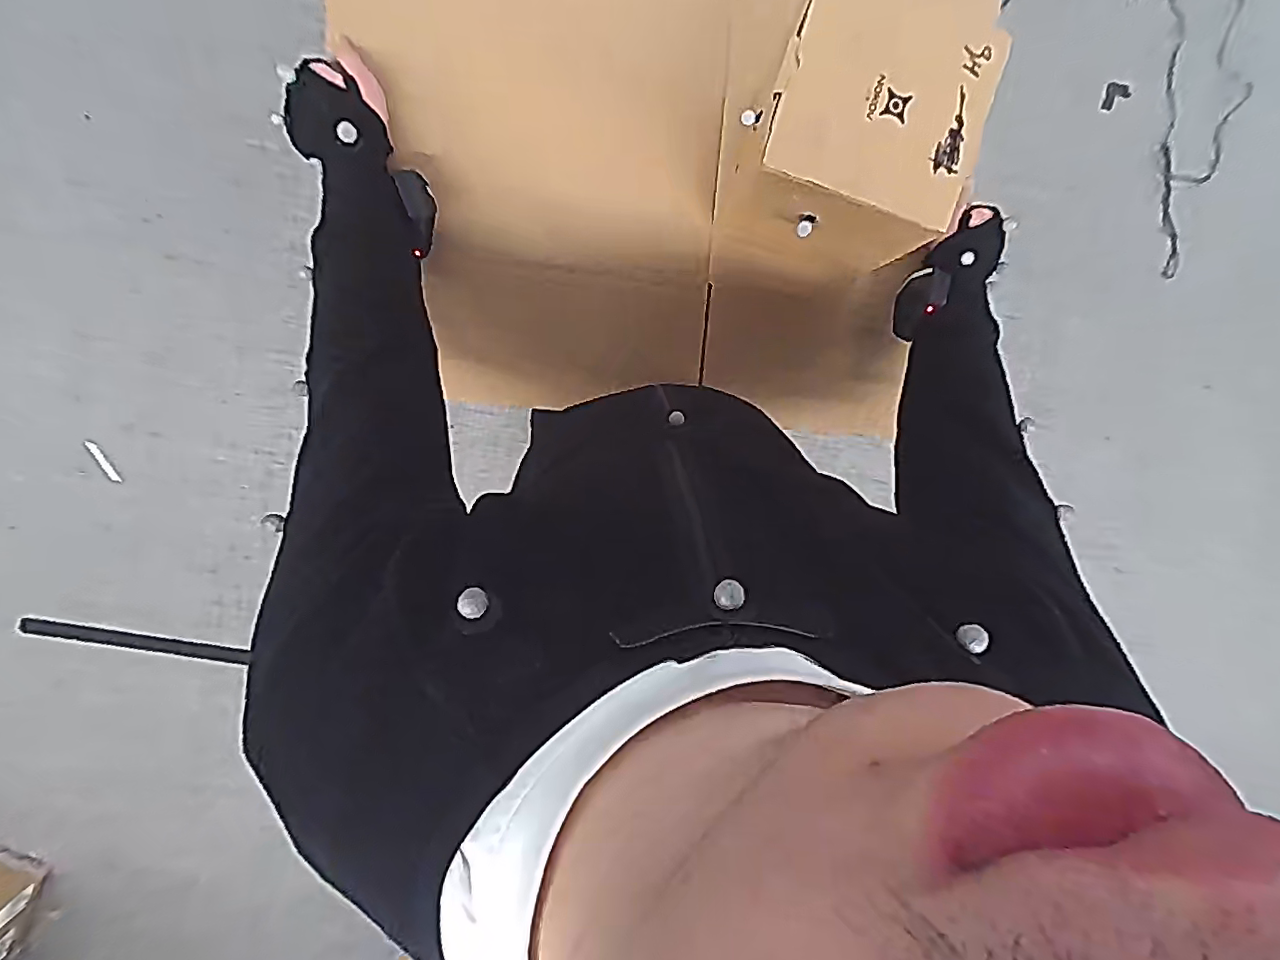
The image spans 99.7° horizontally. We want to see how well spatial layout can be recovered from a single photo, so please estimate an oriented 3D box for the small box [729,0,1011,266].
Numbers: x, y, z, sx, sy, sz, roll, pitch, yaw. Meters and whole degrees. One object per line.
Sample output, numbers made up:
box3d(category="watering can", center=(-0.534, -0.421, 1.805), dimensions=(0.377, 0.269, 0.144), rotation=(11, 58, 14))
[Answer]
box3d(category="small box", center=(0.202, -0.332, 0.533), dimensions=(0.179, 0.176, 0.168), rotation=(17, 97, -5))
